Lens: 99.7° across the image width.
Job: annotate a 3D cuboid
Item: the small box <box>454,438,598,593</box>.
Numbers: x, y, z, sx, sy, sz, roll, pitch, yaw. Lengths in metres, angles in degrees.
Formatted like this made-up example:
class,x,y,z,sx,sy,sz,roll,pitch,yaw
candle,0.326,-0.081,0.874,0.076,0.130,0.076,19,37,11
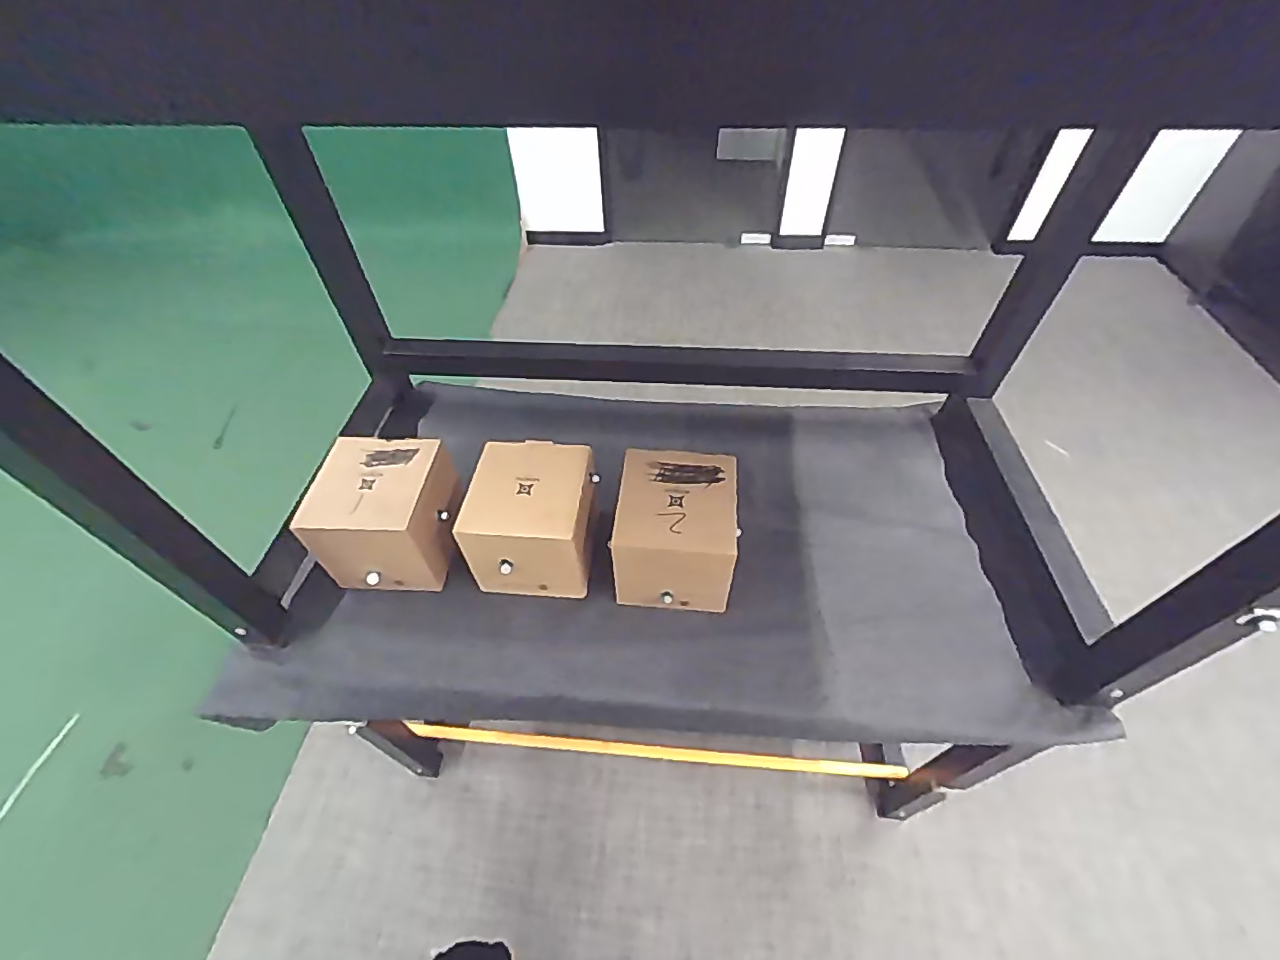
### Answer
class,x,y,z,sx,sy,sz,roll,pitch,yaw
small box,-0.160,0.058,0.834,0.168,0.176,0.179,4,49,4

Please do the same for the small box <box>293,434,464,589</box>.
class,x,y,z,sx,sy,sz,roll,pitch,yaw
small box,-0.387,0.049,0.844,0.168,0.176,0.179,1,50,3
